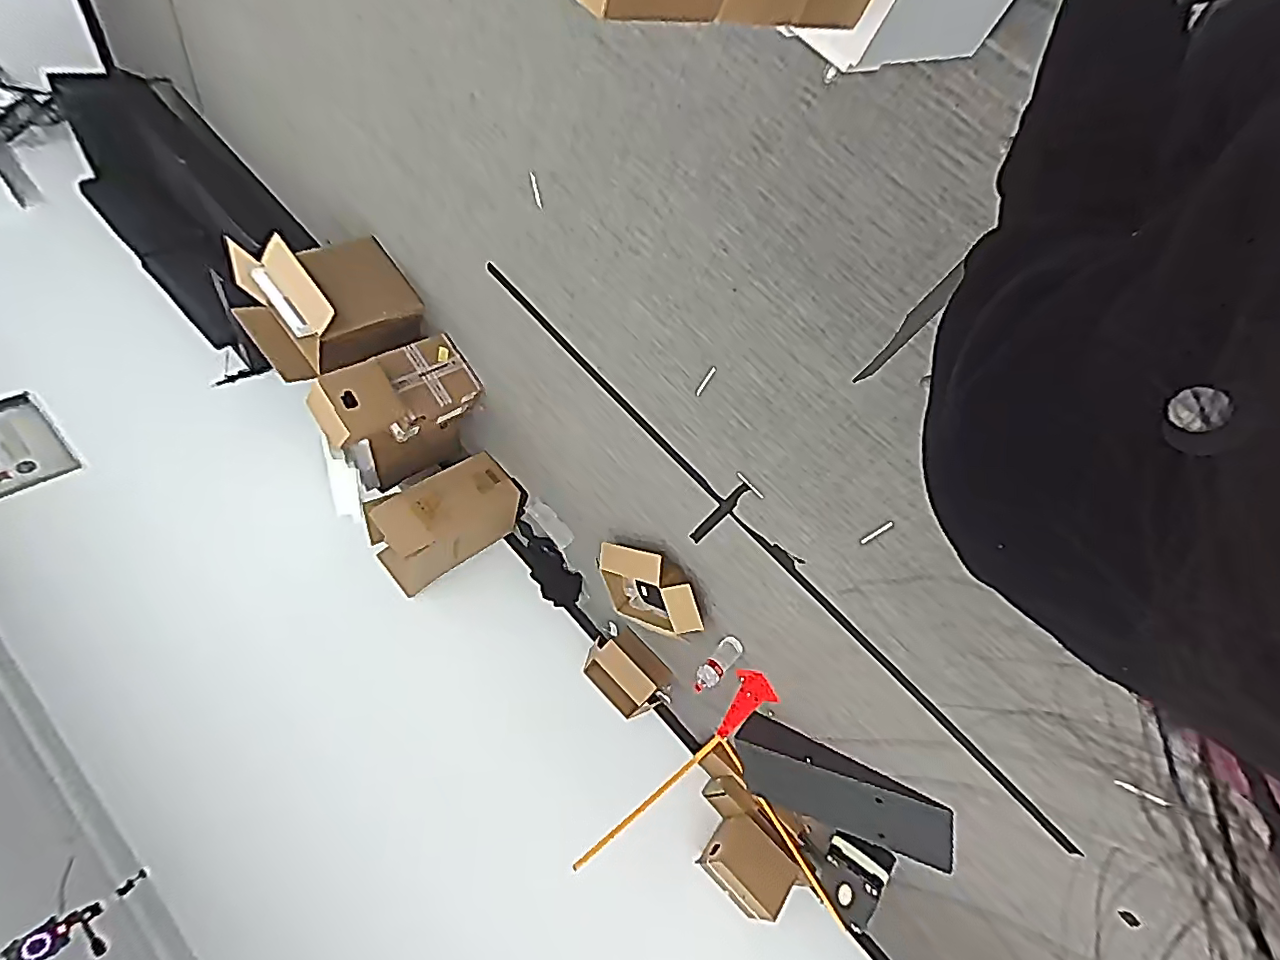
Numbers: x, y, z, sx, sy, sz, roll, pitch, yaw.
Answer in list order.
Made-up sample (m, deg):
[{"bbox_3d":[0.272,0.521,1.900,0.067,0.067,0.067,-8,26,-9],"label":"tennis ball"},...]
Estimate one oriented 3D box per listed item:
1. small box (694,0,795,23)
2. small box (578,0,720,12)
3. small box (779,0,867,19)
[{"bbox_3d":[0.096,-0.595,0.532,0.179,0.176,0.168,47,144,11],"label":"small box"},{"bbox_3d":[-0.012,-0.519,0.438,0.179,0.176,0.168,46,145,11],"label":"small box"},{"bbox_3d":[0.202,-0.674,0.626,0.179,0.176,0.168,48,145,10],"label":"small box"}]
